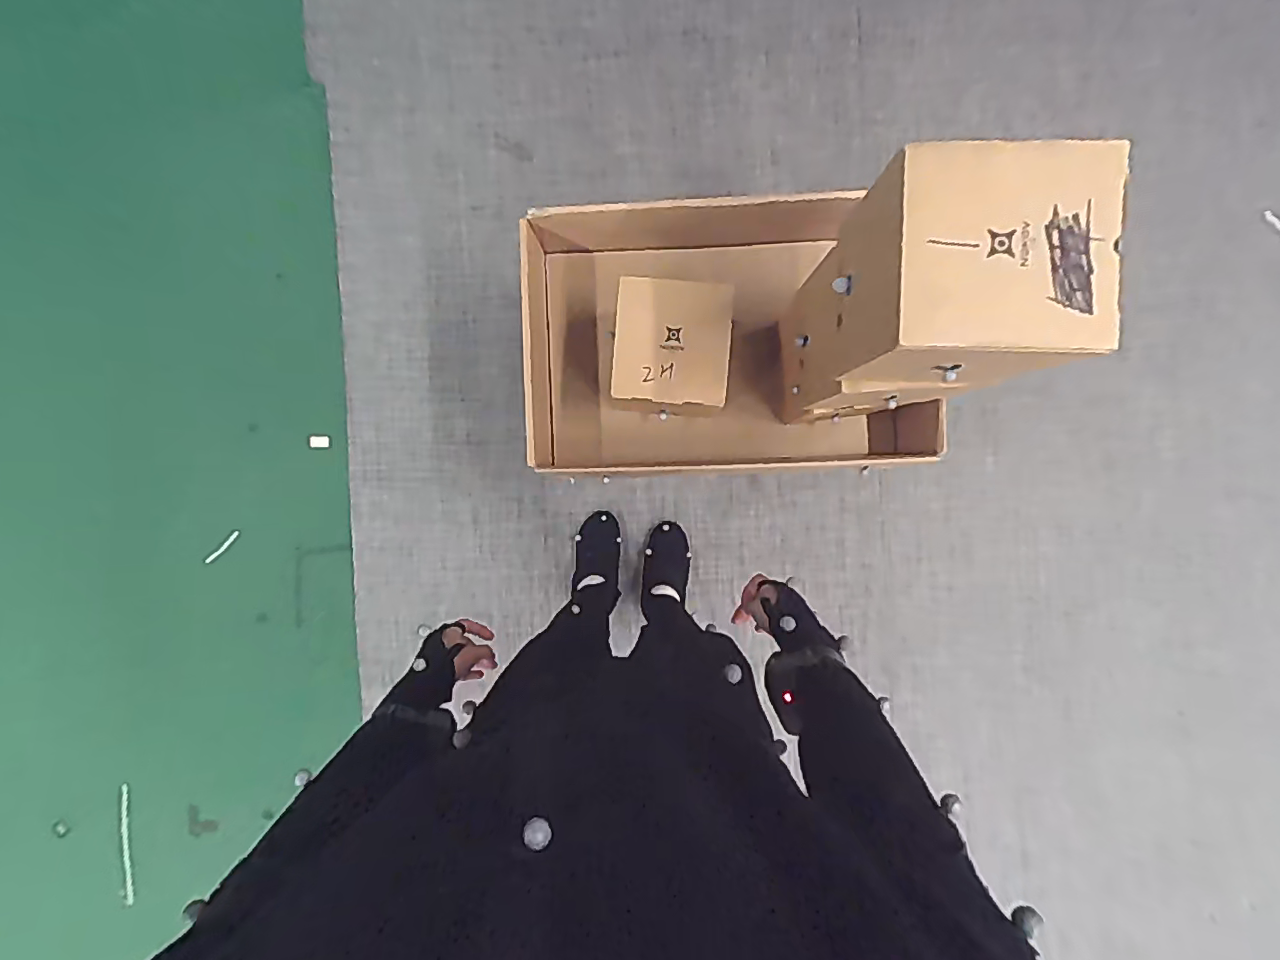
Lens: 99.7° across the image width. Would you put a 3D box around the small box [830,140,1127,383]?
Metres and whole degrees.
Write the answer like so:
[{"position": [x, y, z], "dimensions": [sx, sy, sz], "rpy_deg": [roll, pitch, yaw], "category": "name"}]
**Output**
[{"position": [0.296, -0.187, 0.509], "dimensions": [0.179, 0.176, 0.168], "rpy_deg": [1, 91, 3], "category": "small box"}]
